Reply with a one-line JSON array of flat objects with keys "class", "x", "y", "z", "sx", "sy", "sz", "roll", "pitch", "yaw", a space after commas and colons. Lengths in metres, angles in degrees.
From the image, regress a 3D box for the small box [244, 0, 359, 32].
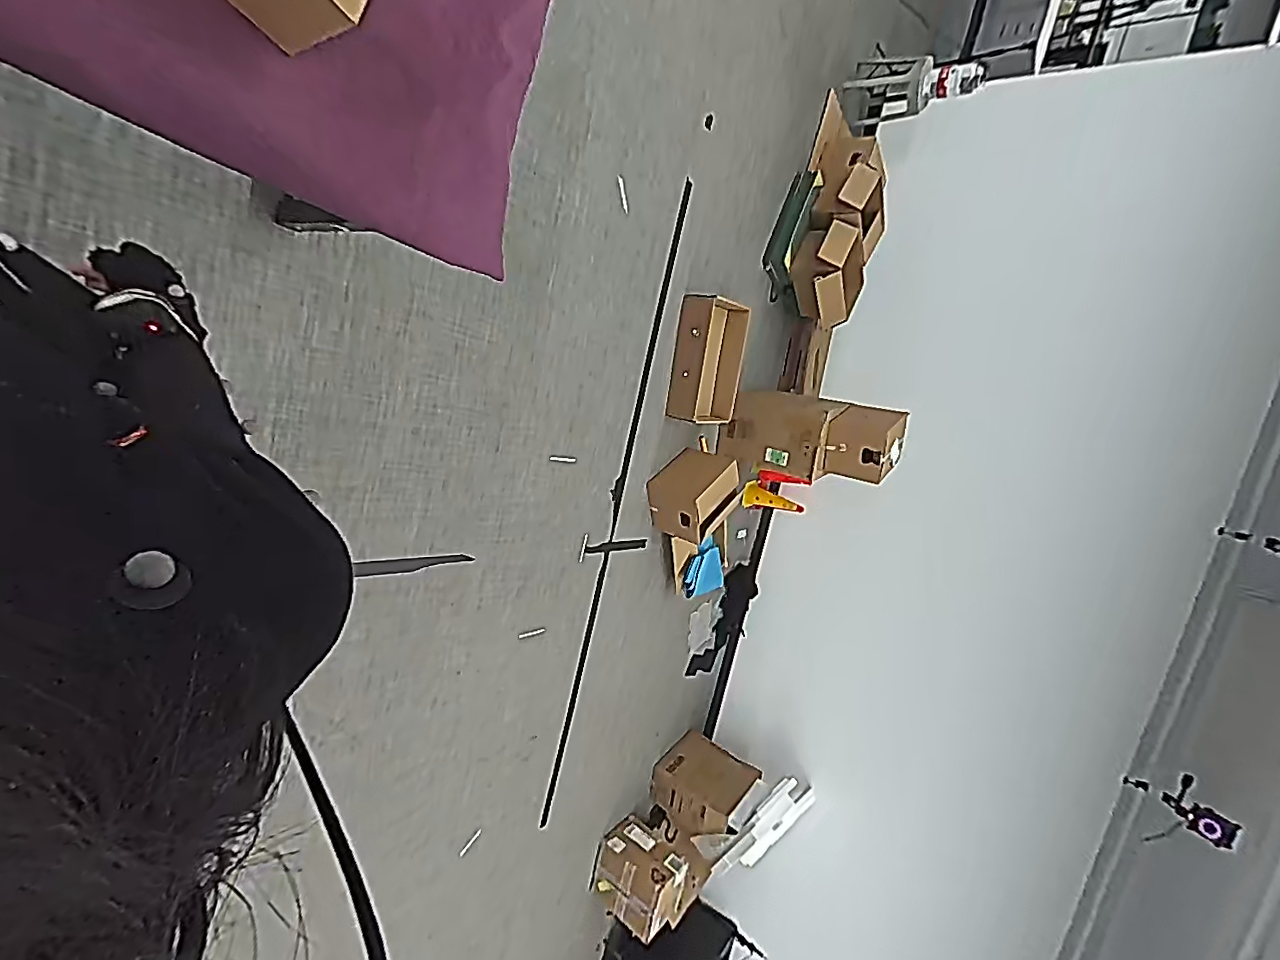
[{"class": "small box", "x": -0.359, "y": -0.588, "z": 0.520, "sx": 0.179, "sy": 0.176, "sz": 0.168, "roll": 30, "pitch": 80, "yaw": -55}]
